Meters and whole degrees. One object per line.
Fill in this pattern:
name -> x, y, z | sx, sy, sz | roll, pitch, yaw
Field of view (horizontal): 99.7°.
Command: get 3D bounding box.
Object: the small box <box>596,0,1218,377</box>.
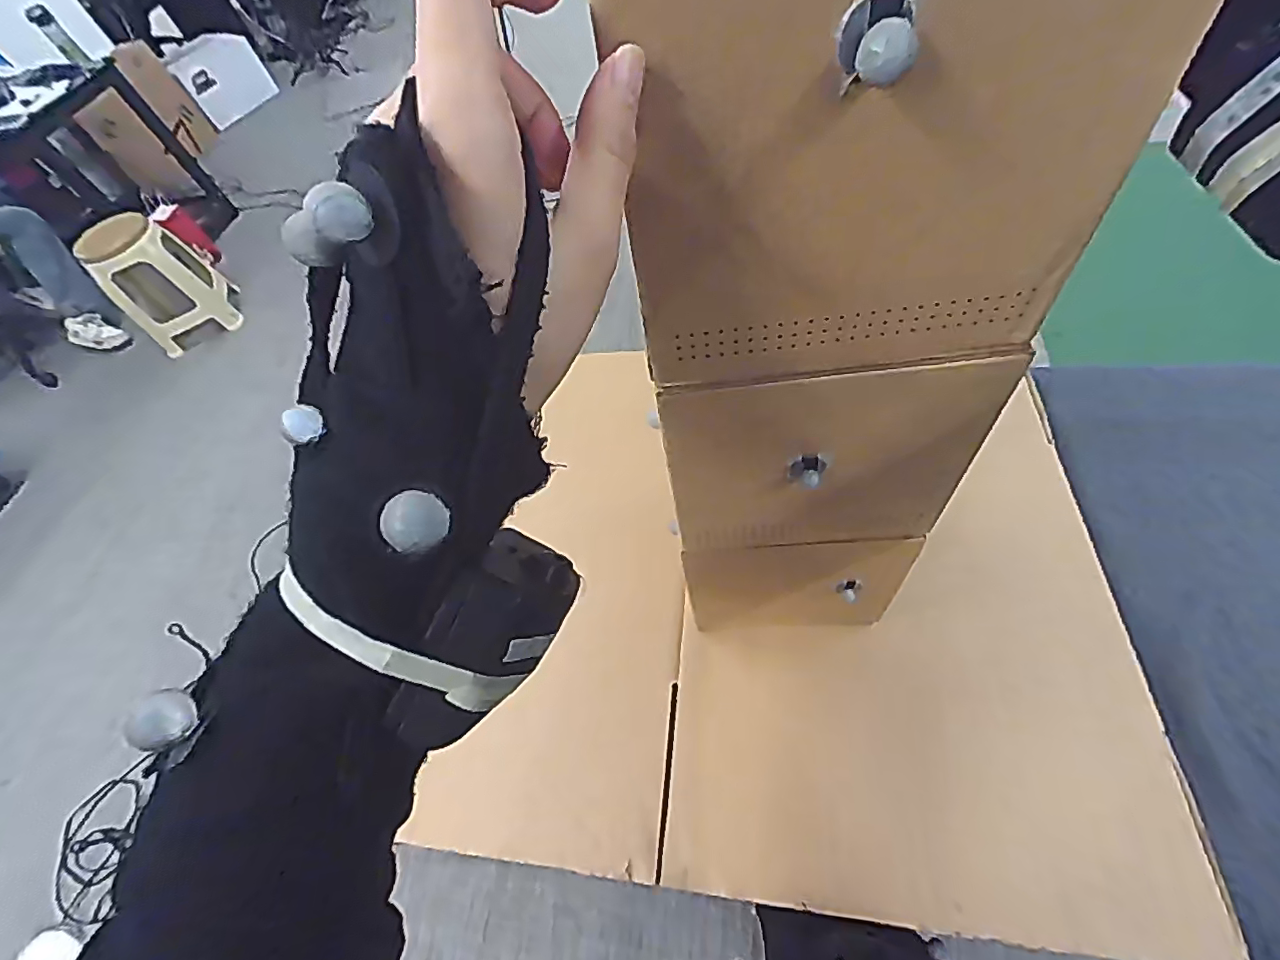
small box -> 0.082, -0.166, 0.235 | 0.179, 0.176, 0.168 | -6, 54, 7

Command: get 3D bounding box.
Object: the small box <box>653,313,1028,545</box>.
small box -> 0.103, -0.070, 0.364 | 0.179, 0.176, 0.168 | -6, 54, 7

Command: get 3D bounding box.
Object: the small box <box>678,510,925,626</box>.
small box -> 0.127, 0.025, 0.496 | 0.179, 0.176, 0.168 | -5, 54, 8
